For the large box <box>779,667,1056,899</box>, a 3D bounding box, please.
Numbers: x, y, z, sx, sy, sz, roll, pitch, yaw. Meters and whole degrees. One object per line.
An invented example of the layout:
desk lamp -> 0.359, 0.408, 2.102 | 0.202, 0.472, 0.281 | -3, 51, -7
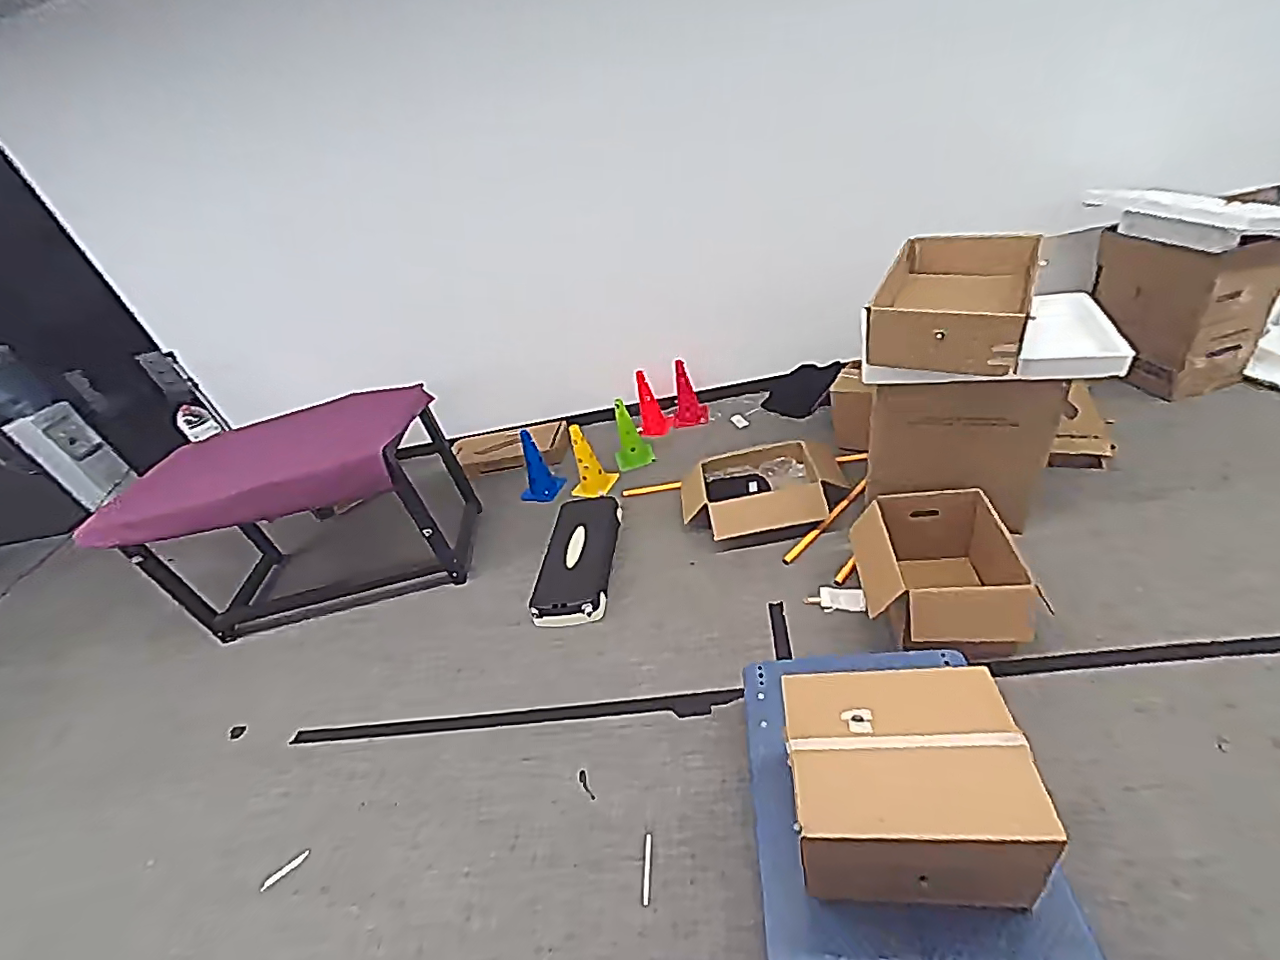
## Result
large box -> 0.519, 0.616, 1.096 | 0.408, 0.320, 0.320 | -9, 35, 13
